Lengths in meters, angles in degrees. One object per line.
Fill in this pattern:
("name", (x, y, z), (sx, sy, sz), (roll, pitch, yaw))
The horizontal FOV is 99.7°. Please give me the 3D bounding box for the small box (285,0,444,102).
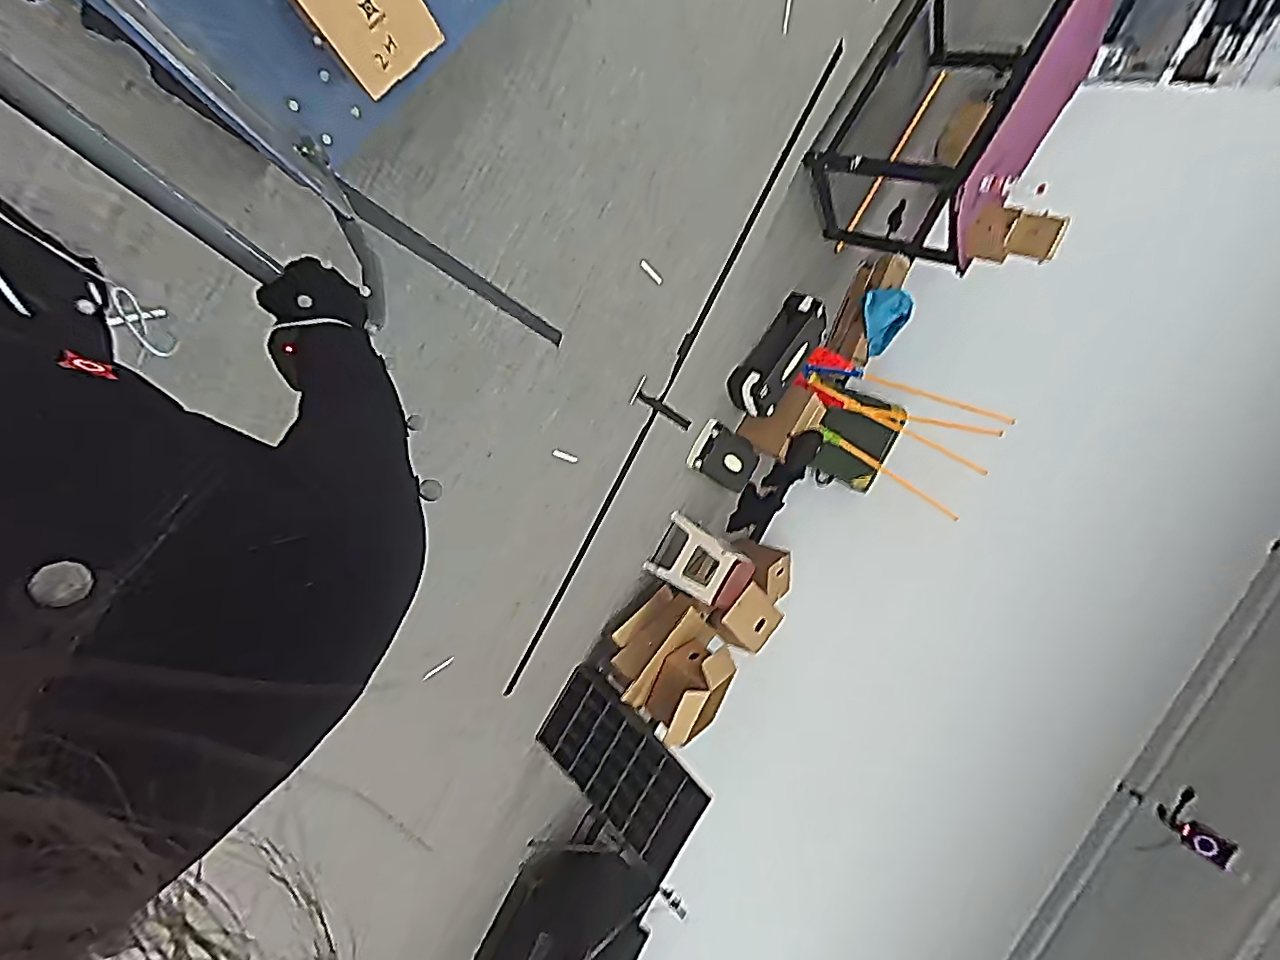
("small box", (-0.474, -0.788, 0.909), (0.168, 0.176, 0.179), (-41, 146, -1))
